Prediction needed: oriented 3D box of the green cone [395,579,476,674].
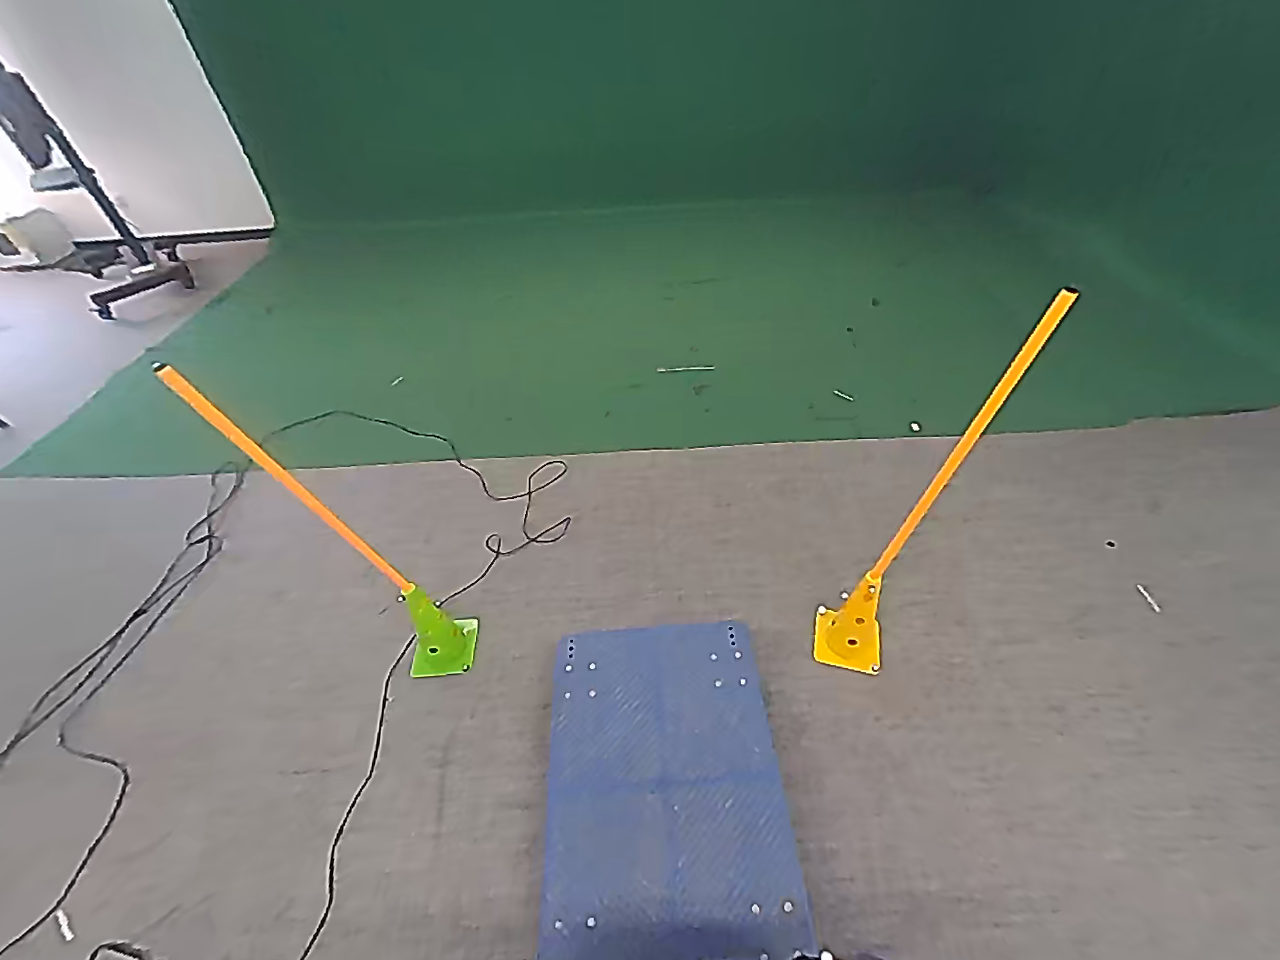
[{"bbox_3d":[-0.671,0.427,1.695,0.202,0.368,0.200,-7,45,0],"label":"green cone"}]
